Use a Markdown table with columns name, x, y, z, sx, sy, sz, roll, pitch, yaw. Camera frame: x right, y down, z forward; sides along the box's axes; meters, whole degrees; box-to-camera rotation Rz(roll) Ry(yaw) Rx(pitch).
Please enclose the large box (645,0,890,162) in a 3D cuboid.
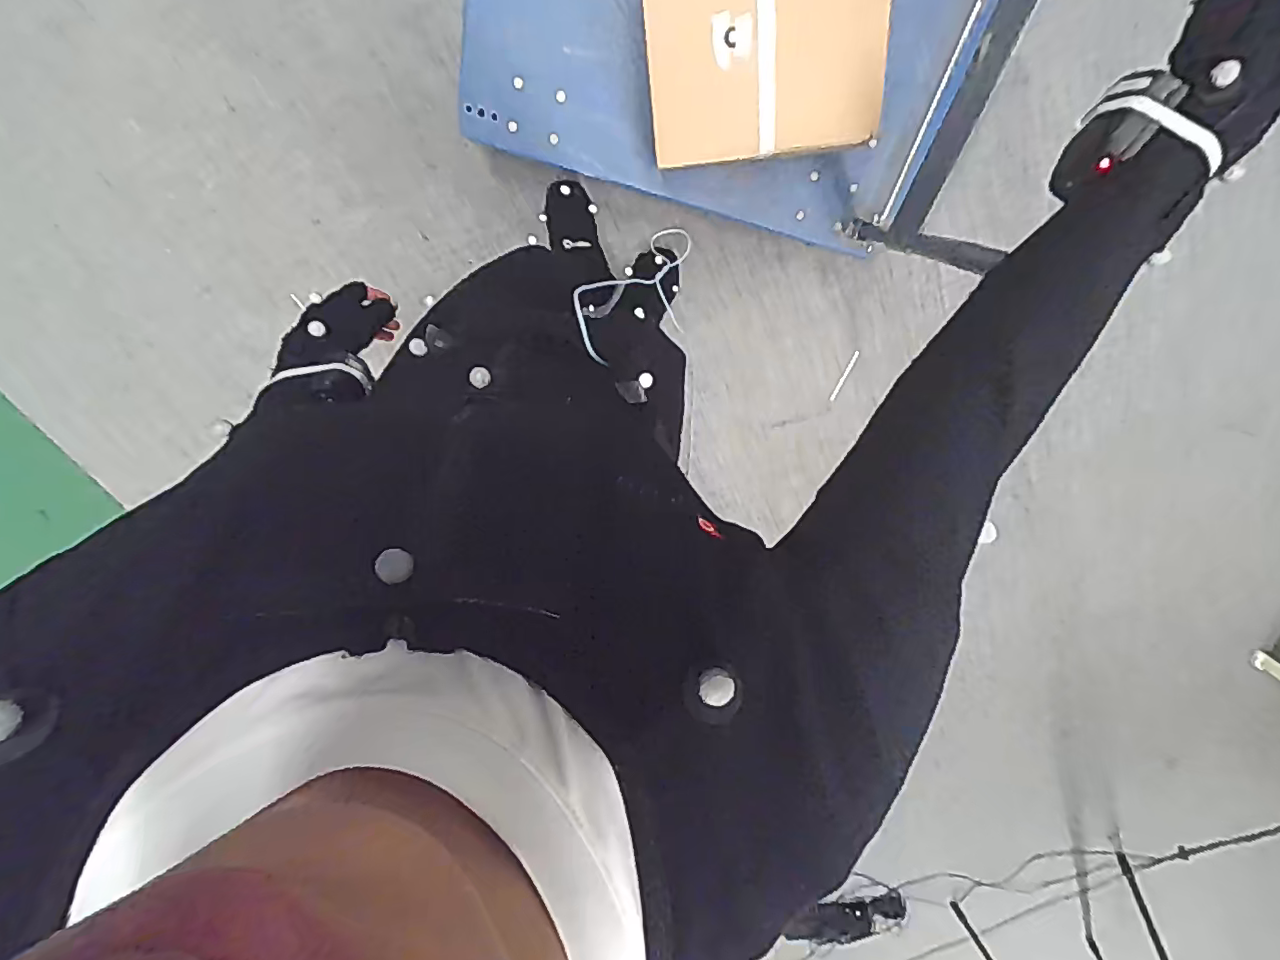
| name | x | y | z | sx | sy | sz | roll | pitch | yaw |
| --- | --- | --- | --- | --- | --- | --- | --- | --- | --- |
| large box | 0.164 | -0.726 | 0.802 | 0.320 | 0.320 | 0.408 | -5 | 120 | 7 |
